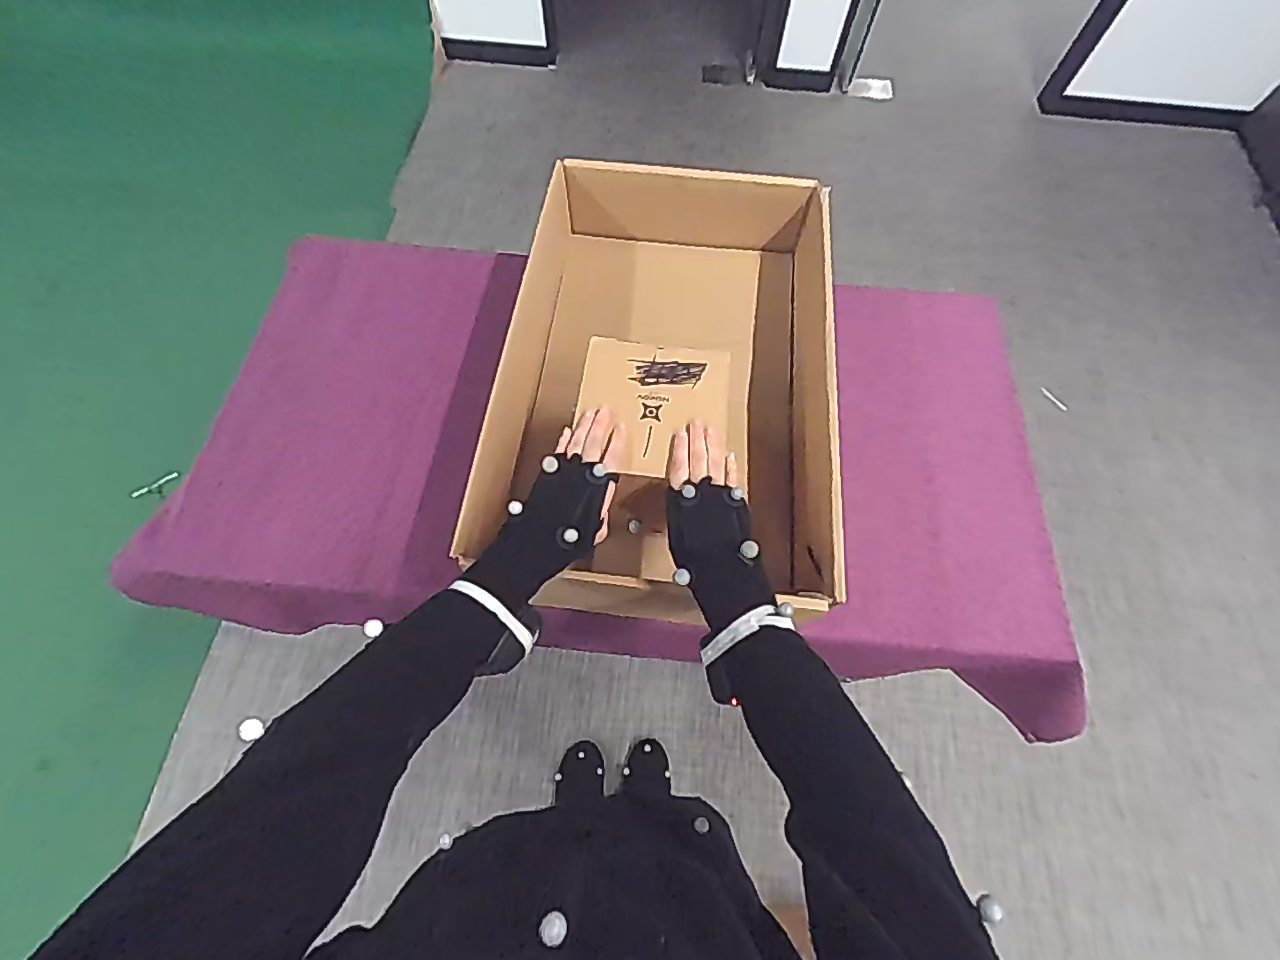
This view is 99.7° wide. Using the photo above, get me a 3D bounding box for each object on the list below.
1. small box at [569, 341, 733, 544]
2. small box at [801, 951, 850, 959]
[{"bbox_3d":[0.014,-0.040,0.659,0.168,0.176,0.179,7,64,2],"label":"small box"},{"bbox_3d":[0.332,0.820,0.777,0.168,0.176,0.179,7,65,2],"label":"small box"}]
